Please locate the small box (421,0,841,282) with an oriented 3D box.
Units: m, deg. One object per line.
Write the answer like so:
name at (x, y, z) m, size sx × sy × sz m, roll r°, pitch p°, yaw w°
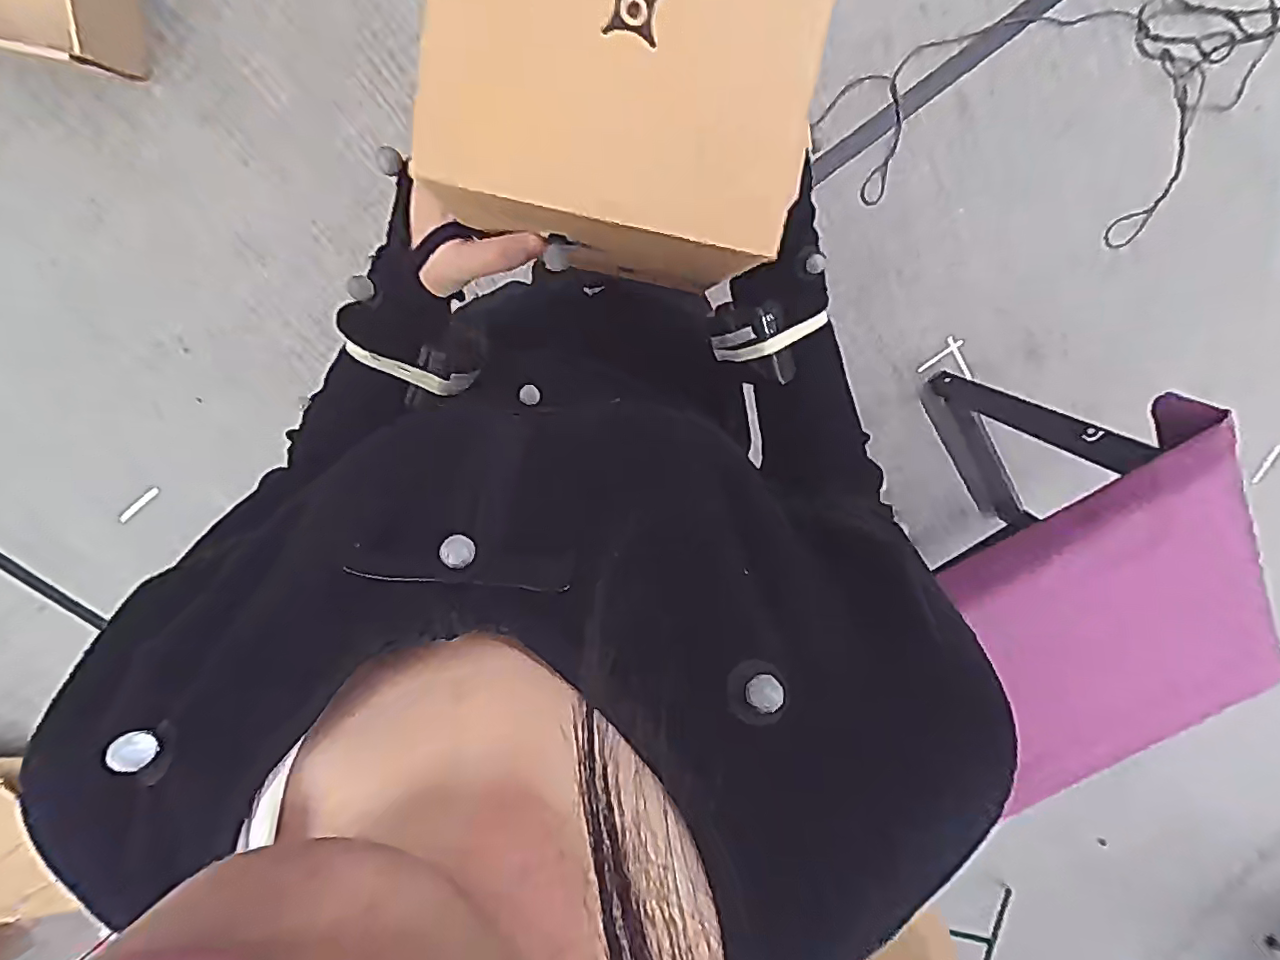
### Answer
small box at (-0.004, -0.220, 0.298) m, size 0.168 × 0.176 × 0.179 m, roll 10°, pitch 101°, yaw -8°
